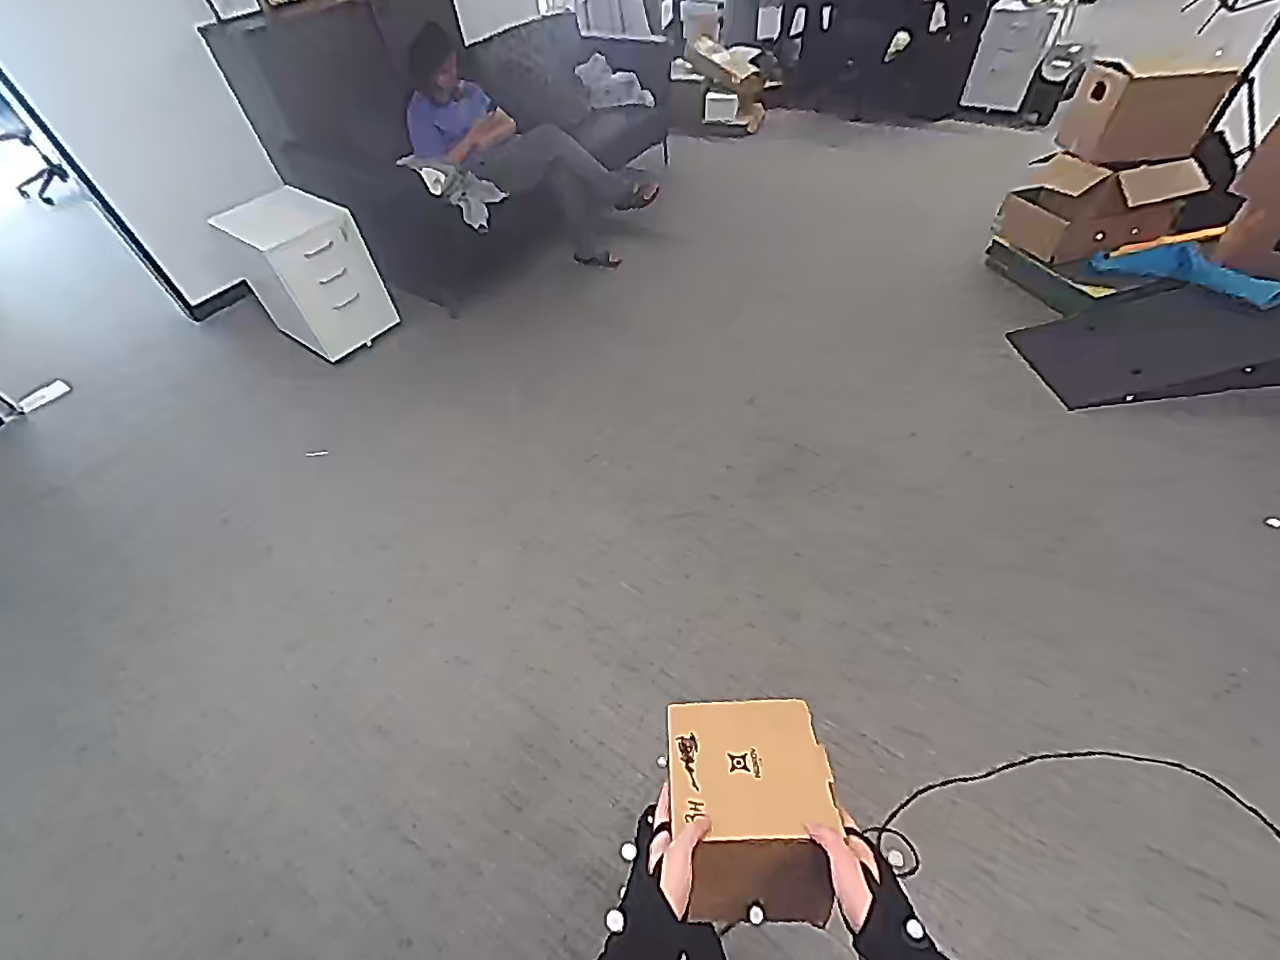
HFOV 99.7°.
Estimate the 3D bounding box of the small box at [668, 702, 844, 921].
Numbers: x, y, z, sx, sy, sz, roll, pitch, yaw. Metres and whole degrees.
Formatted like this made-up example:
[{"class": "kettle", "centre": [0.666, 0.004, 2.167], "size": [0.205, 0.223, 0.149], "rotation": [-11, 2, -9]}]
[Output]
[{"class": "small box", "centre": [0.123, 0.393, 0.648], "size": [0.179, 0.176, 0.168], "rotation": [-2, 27, 3]}]
